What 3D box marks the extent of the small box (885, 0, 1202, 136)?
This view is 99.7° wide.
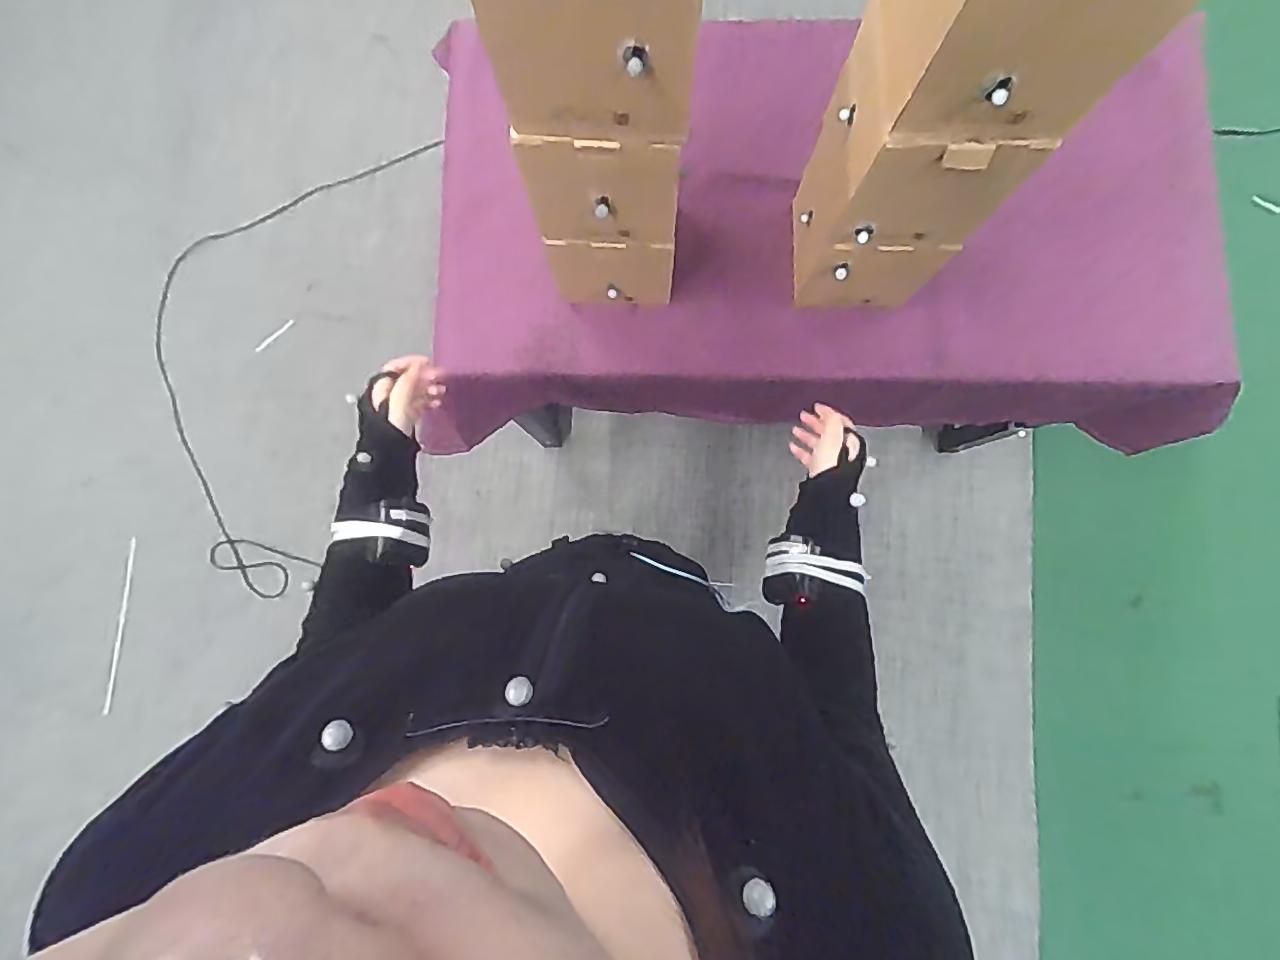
[{"bbox_3d":[0.312,-0.414,0.431,0.168,0.176,0.179,0,83,1],"label":"small box"}]

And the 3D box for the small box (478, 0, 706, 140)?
[{"bbox_3d":[-0.028,-0.413,0.436,0.168,0.176,0.179,5,82,1],"label":"small box"}]

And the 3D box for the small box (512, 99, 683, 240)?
[{"bbox_3d":[-0.035,-0.389,0.598,0.168,0.176,0.179,2,83,1],"label":"small box"}]

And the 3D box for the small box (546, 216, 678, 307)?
[{"bbox_3d":[-0.031,-0.365,0.760,0.168,0.176,0.179,2,82,2],"label":"small box"}]

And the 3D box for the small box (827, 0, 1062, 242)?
[{"bbox_3d":[0.312,-0.383,0.591,0.168,0.176,0.179,1,81,2],"label":"small box"}]
